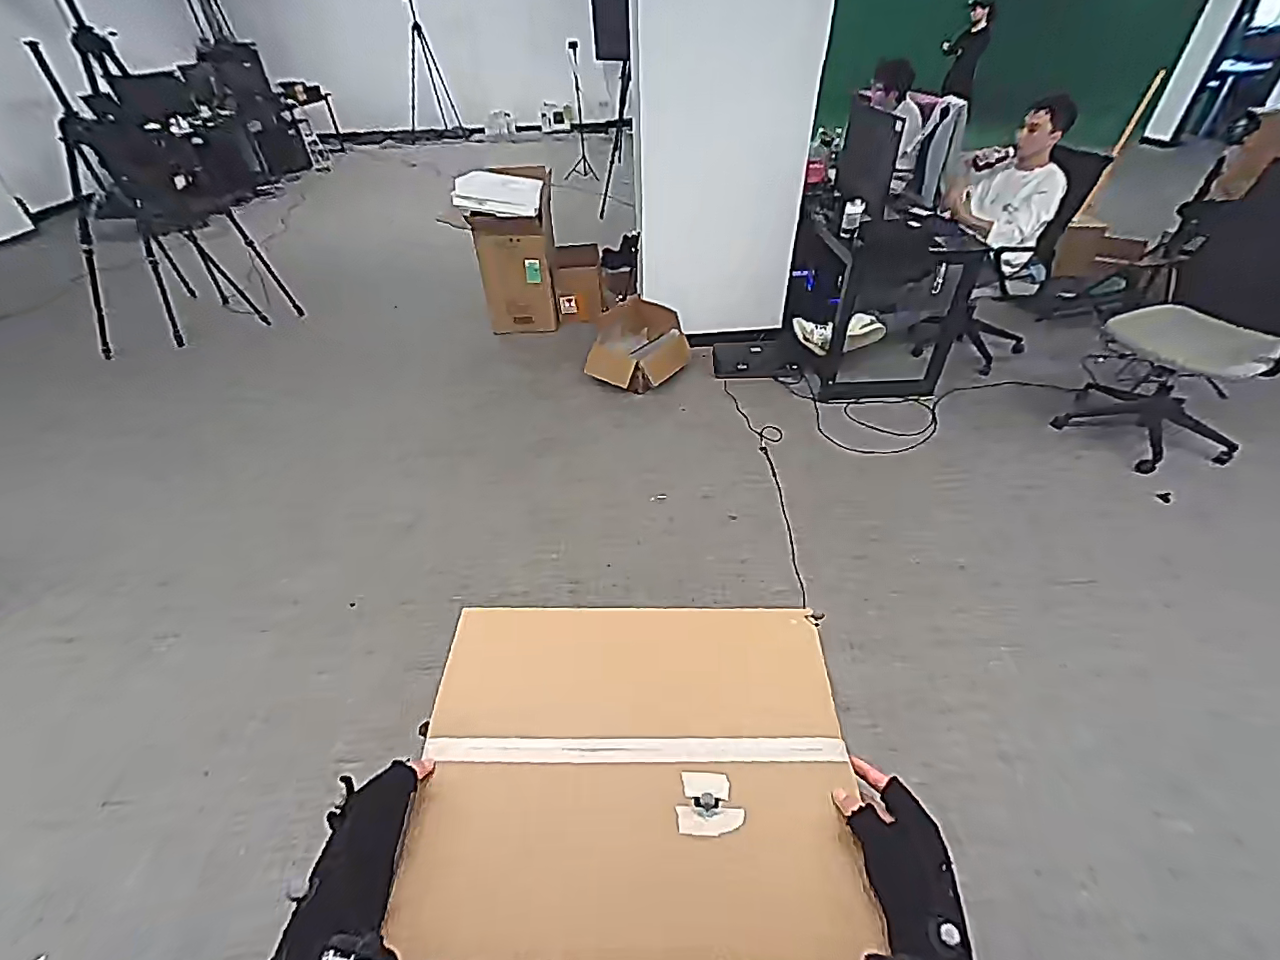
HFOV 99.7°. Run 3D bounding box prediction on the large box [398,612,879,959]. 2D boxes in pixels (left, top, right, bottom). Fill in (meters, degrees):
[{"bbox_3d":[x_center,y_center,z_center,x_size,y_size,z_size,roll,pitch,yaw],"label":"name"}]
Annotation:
[{"bbox_3d":[-0.003,0.373,0.647,0.408,0.320,0.320,0,46,0],"label":"large box"}]
